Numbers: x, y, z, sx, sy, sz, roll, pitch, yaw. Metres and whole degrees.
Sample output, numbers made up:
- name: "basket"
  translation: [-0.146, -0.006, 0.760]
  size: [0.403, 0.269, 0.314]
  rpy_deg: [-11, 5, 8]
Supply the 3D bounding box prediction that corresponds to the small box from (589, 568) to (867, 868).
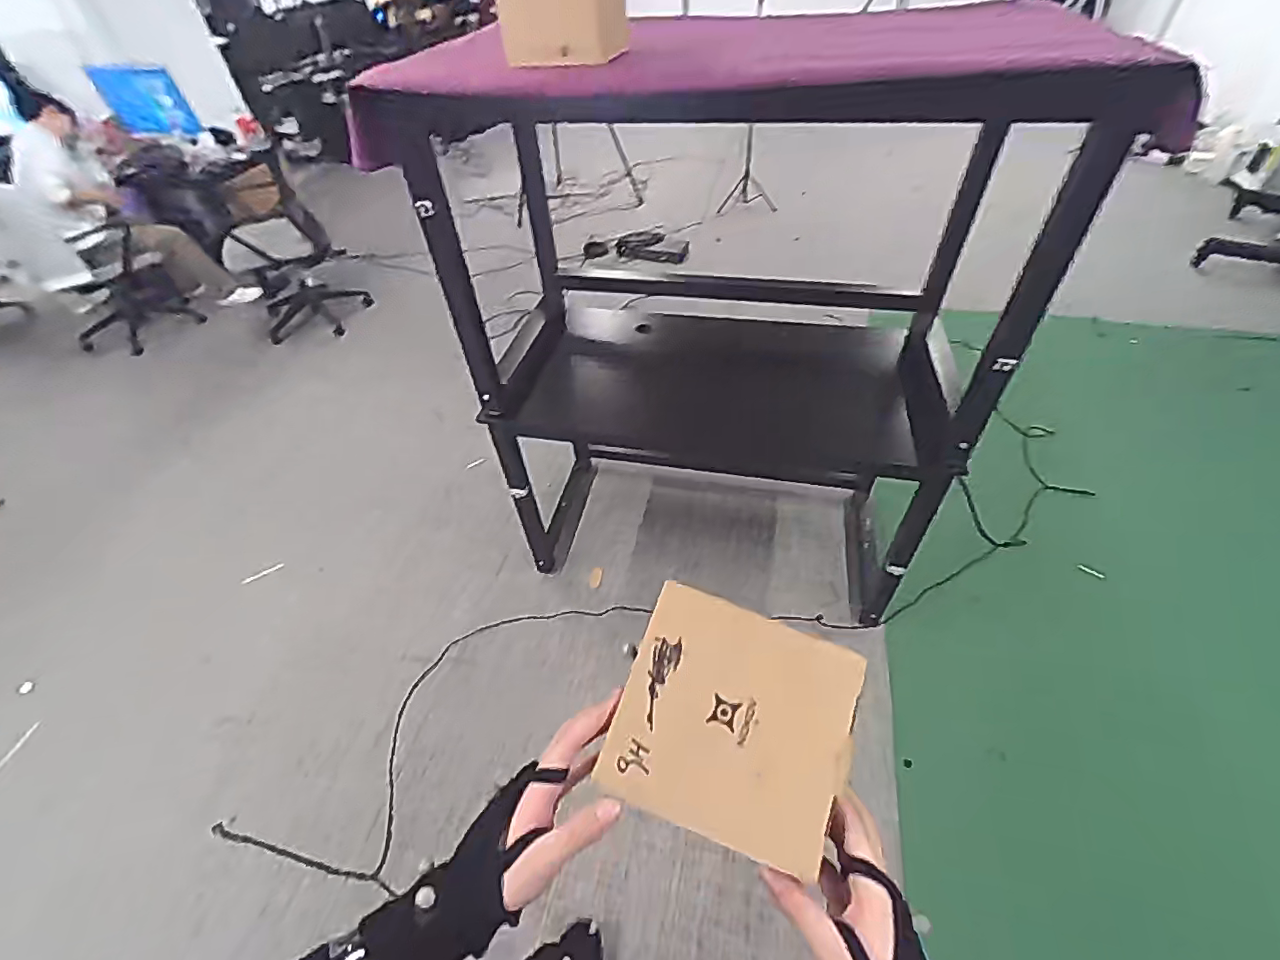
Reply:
- name: "small box"
  translation: [0.069, 0.200, 0.486]
  size: [0.179, 0.176, 0.168]
  rpy_deg: [21, 69, 6]
